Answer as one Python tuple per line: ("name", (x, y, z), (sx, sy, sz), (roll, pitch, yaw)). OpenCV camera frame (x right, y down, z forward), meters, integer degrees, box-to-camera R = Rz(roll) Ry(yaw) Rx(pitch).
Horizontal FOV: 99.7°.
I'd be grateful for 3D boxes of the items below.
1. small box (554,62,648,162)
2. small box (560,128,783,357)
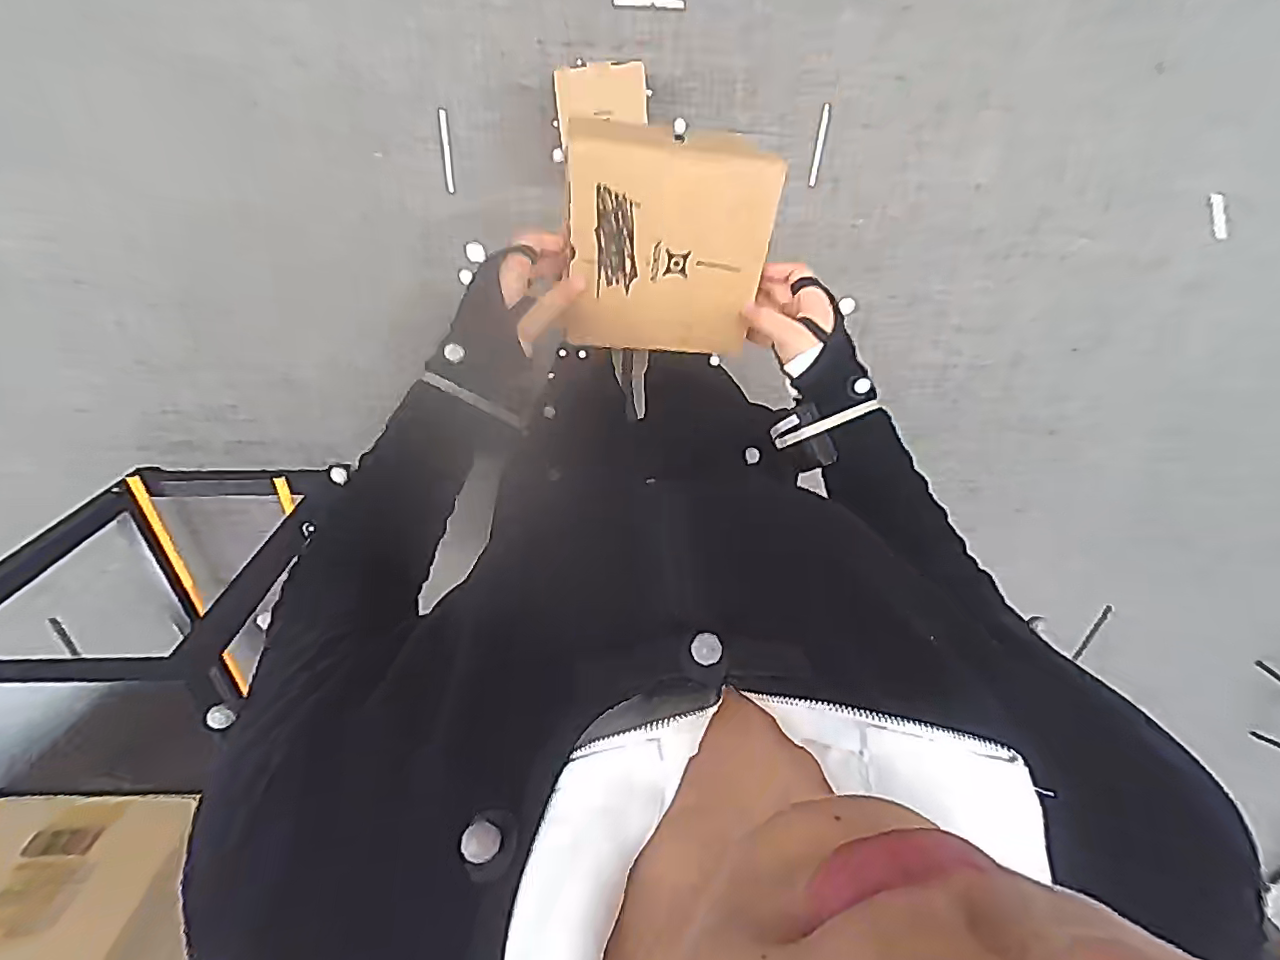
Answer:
("small box", (-0.072, -0.698, 1.062), (0.168, 0.176, 0.179), (-5, 124, 0))
("small box", (0.012, -0.236, 0.532), (0.179, 0.176, 0.168), (1, 128, -9))
